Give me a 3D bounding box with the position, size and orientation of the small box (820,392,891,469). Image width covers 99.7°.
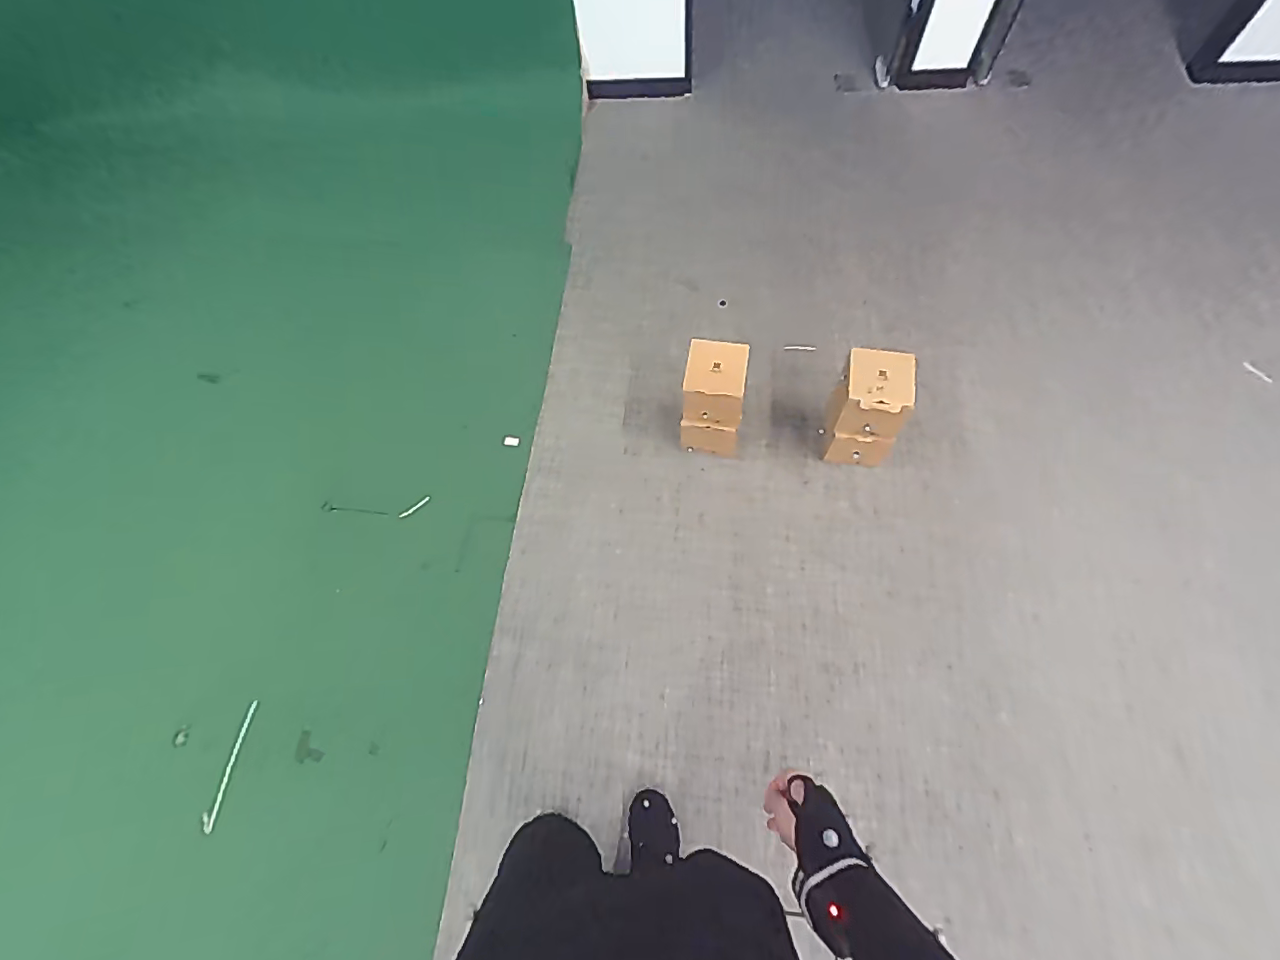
[{"bbox_3d":[0.653,-0.146,1.648,0.168,0.176,0.179,5,67,7],"label":"small box"}]

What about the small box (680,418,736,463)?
[{"bbox_3d":[0.221,-0.172,1.713,0.168,0.176,0.179,8,65,7],"label":"small box"}]

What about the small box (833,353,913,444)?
[{"bbox_3d":[0.642,-0.225,1.503,0.168,0.176,0.179,9,66,10],"label":"small box"}]

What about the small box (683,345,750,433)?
[{"bbox_3d":[0.215,-0.260,1.557,0.168,0.176,0.179,8,66,8],"label":"small box"}]
